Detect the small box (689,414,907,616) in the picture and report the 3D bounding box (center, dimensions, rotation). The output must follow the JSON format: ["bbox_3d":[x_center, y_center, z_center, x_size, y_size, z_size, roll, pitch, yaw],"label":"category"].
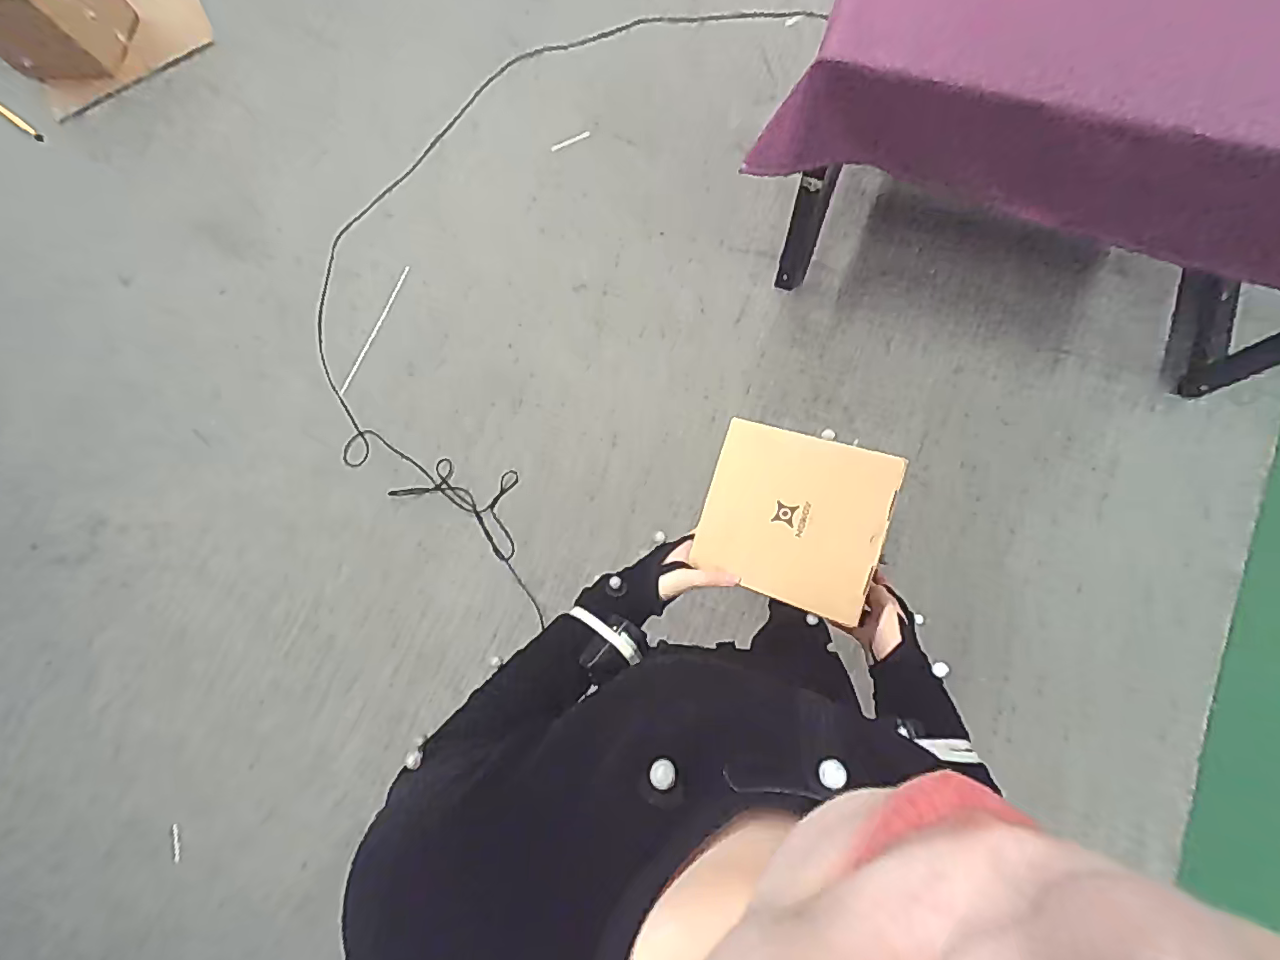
[{"bbox_3d":[0.181,0.039,0.611,0.179,0.176,0.168,17,90,23],"label":"small box"}]
